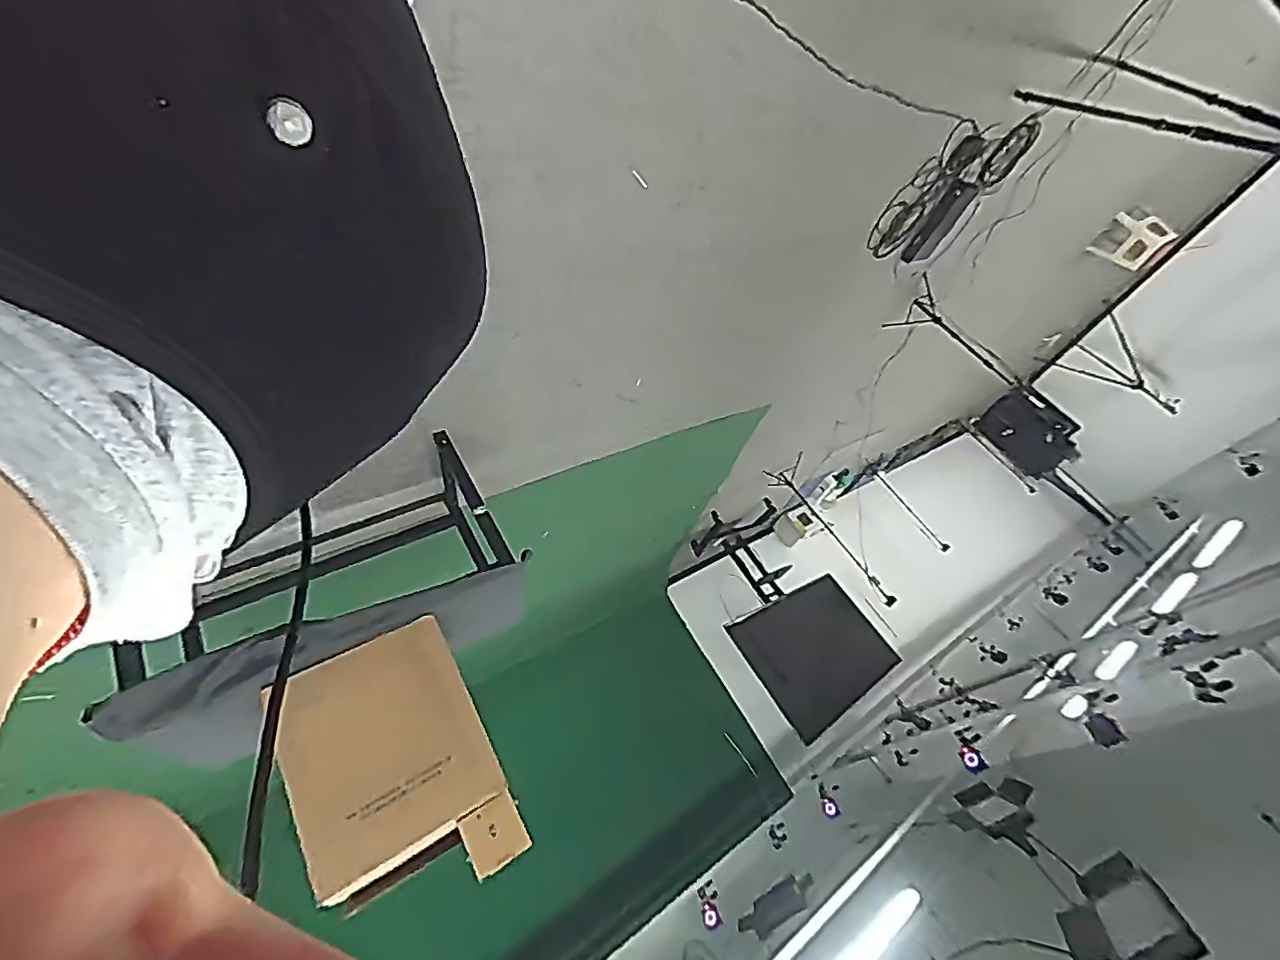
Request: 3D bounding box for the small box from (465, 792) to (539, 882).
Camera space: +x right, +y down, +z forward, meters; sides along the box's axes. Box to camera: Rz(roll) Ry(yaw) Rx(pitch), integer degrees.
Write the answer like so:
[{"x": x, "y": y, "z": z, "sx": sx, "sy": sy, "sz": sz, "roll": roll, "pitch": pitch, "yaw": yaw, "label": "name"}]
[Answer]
[{"x": -0.423, "y": 1.088, "z": 1.654, "sx": 0.168, "sy": 0.176, "sz": 0.179, "roll": -24, "pitch": 153, "yaw": -27, "label": "small box"}]
